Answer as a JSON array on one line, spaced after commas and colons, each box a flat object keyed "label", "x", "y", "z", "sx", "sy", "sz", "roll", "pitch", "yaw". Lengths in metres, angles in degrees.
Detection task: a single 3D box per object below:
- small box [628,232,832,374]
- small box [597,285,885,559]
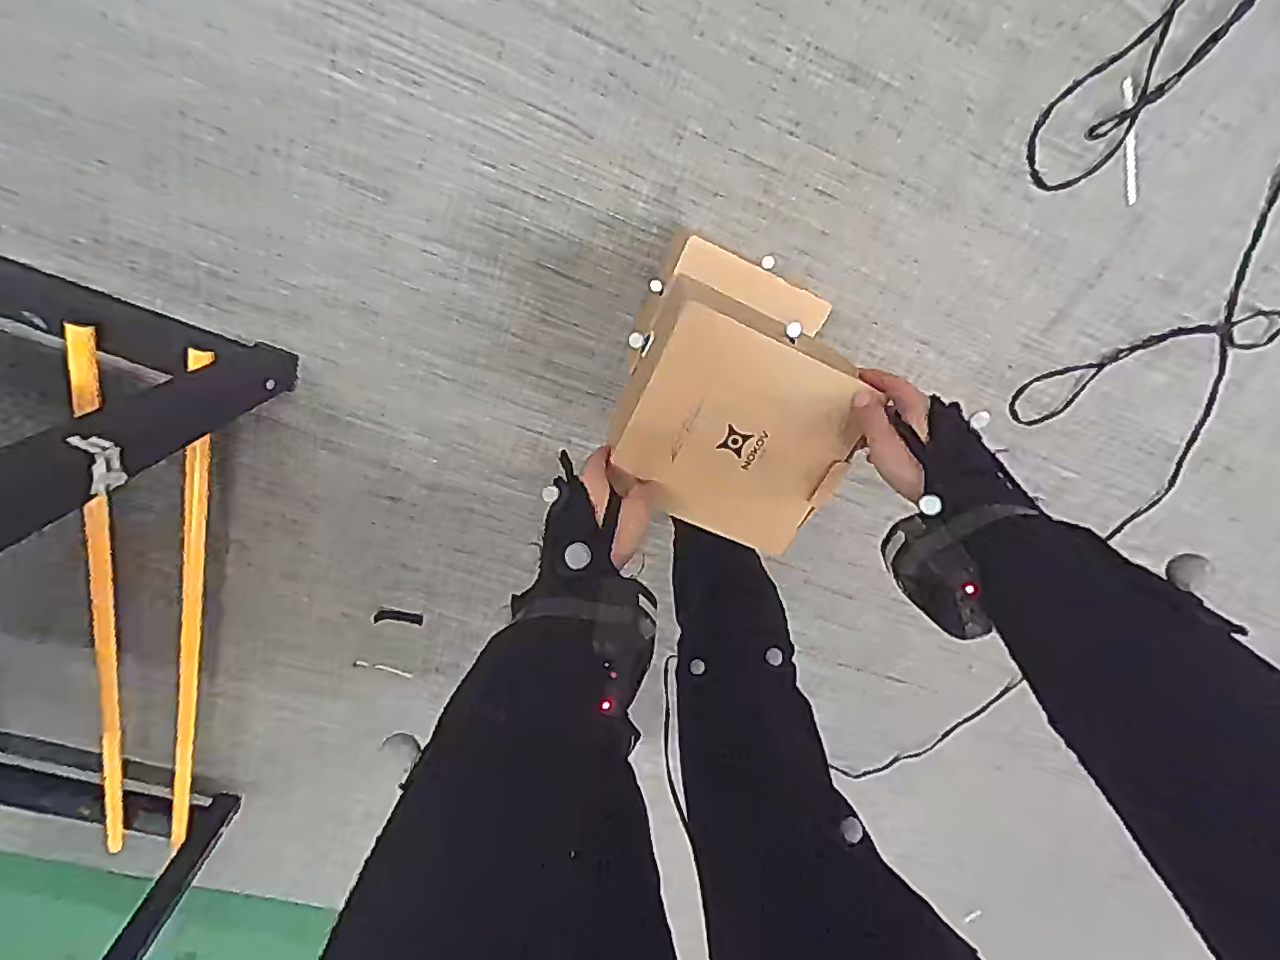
[{"label": "small box", "x": 0.096, "y": -0.191, "z": 0.669, "sx": 0.179, "sy": 0.176, "sz": 0.168, "roll": 22, "pitch": 115, "yaw": -12}, {"label": "small box", "x": 0.078, "y": -0.063, "z": 0.496, "sx": 0.179, "sy": 0.176, "sz": 0.168, "roll": 23, "pitch": 115, "yaw": -9}]
